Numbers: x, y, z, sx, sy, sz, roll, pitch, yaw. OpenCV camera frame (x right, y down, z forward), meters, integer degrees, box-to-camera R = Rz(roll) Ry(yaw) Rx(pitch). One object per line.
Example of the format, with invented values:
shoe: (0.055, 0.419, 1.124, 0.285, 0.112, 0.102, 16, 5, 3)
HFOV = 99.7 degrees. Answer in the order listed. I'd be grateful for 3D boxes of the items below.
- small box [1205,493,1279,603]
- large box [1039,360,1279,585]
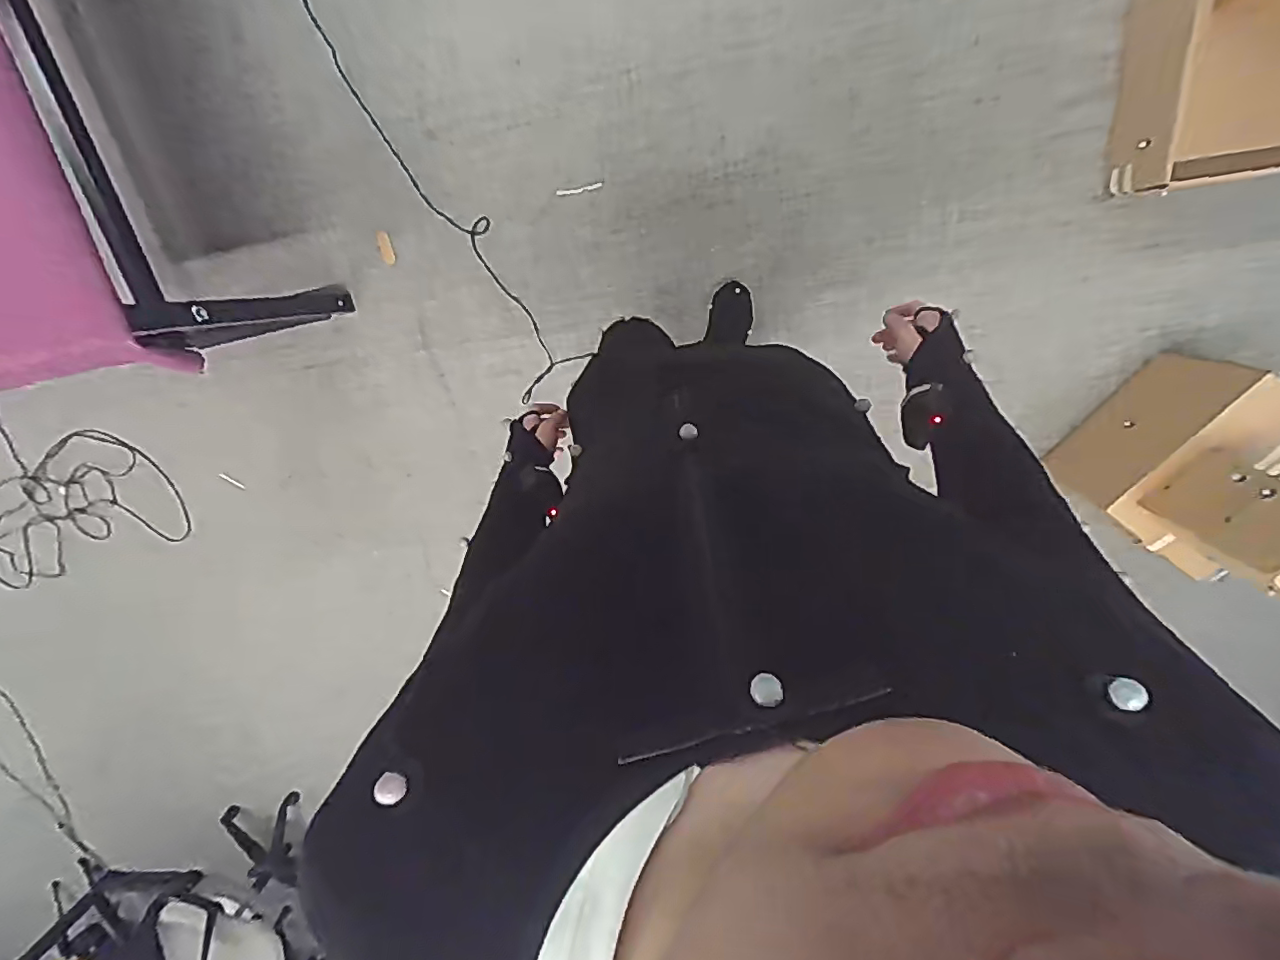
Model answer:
small box: (1.206, 0.141, 0.972, 0.179, 0.176, 0.168, 36, 111, -6)
large box: (1.330, -0.032, 1.332, 0.320, 0.320, 0.408, 34, 110, -6)
